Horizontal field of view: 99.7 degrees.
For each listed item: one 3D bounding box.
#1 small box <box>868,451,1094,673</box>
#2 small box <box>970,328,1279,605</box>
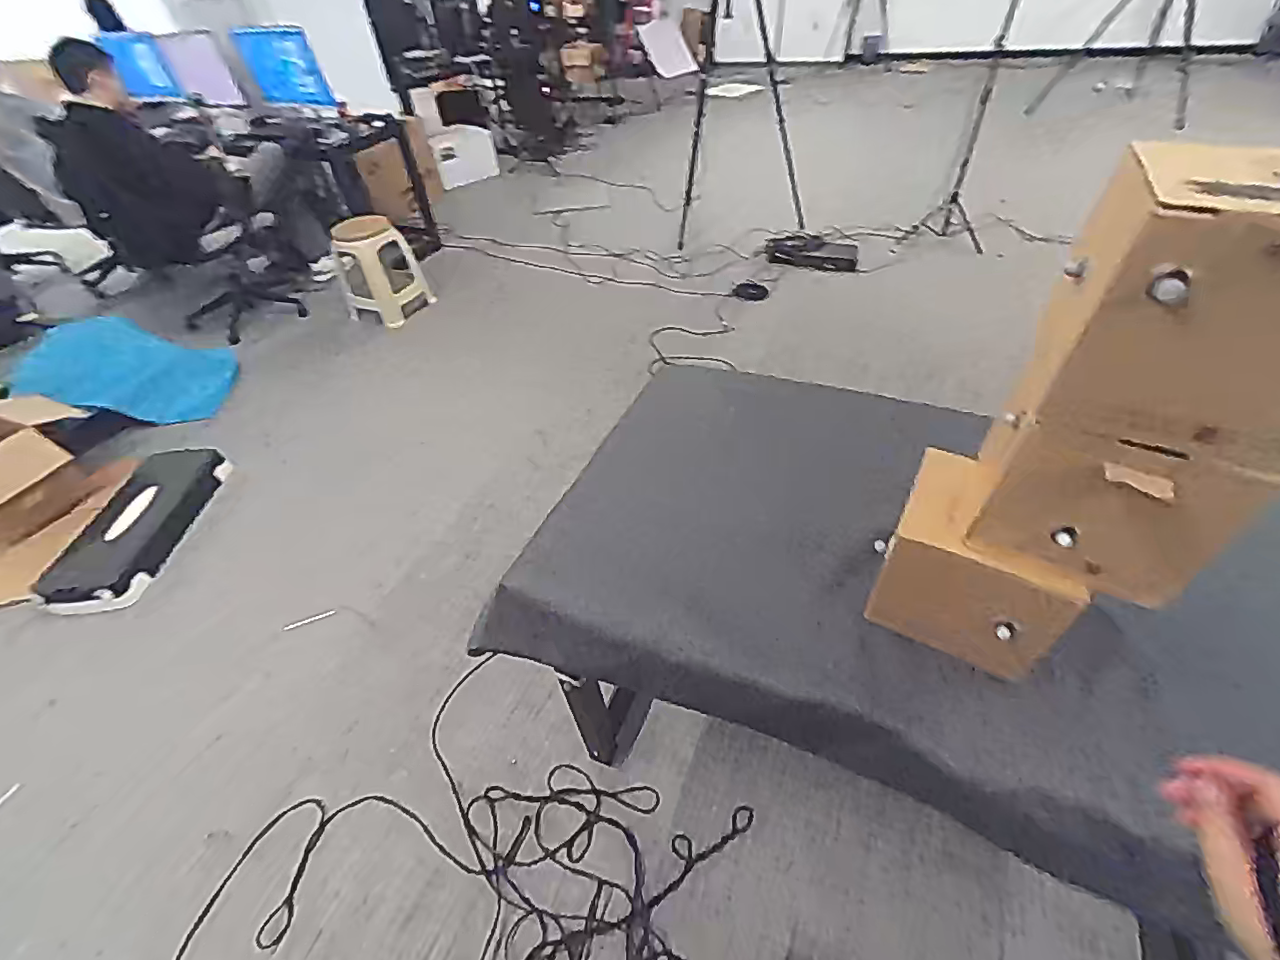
[{"bbox_3d":[0.395,0.099,0.639,0.179,0.176,0.168,21,49,26],"label":"small box"},{"bbox_3d":[0.446,-0.017,0.522,0.168,0.176,0.179,21,50,23],"label":"small box"}]
